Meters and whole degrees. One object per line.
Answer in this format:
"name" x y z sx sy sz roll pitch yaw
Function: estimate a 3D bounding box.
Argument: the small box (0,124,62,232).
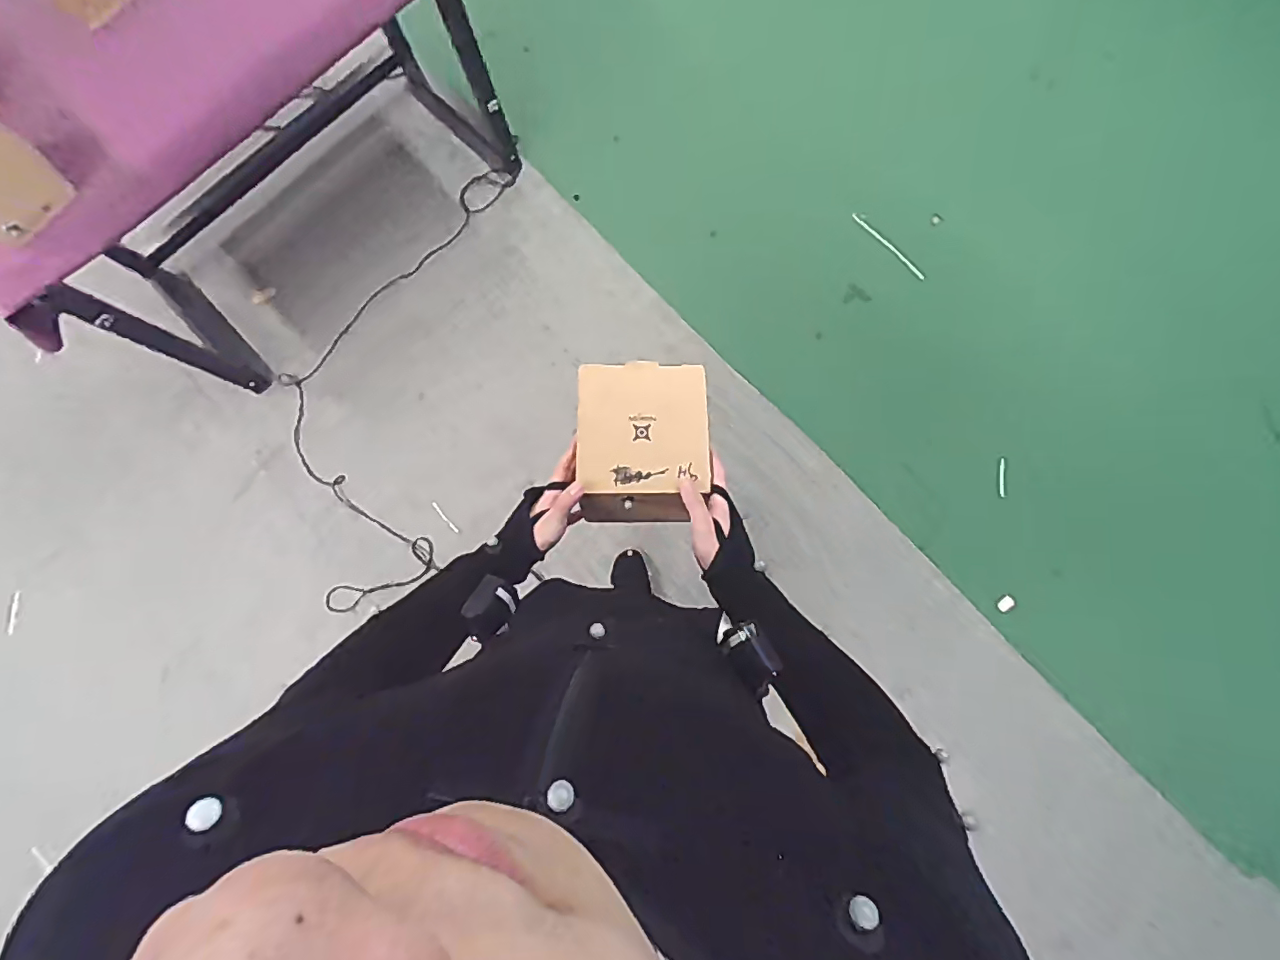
"small box" -1.243 -0.588 0.987 0.179 0.176 0.168 42 85 9

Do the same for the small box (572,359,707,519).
"small box" -0.004 -0.049 0.748 0.168 0.176 0.179 0 75 -2
